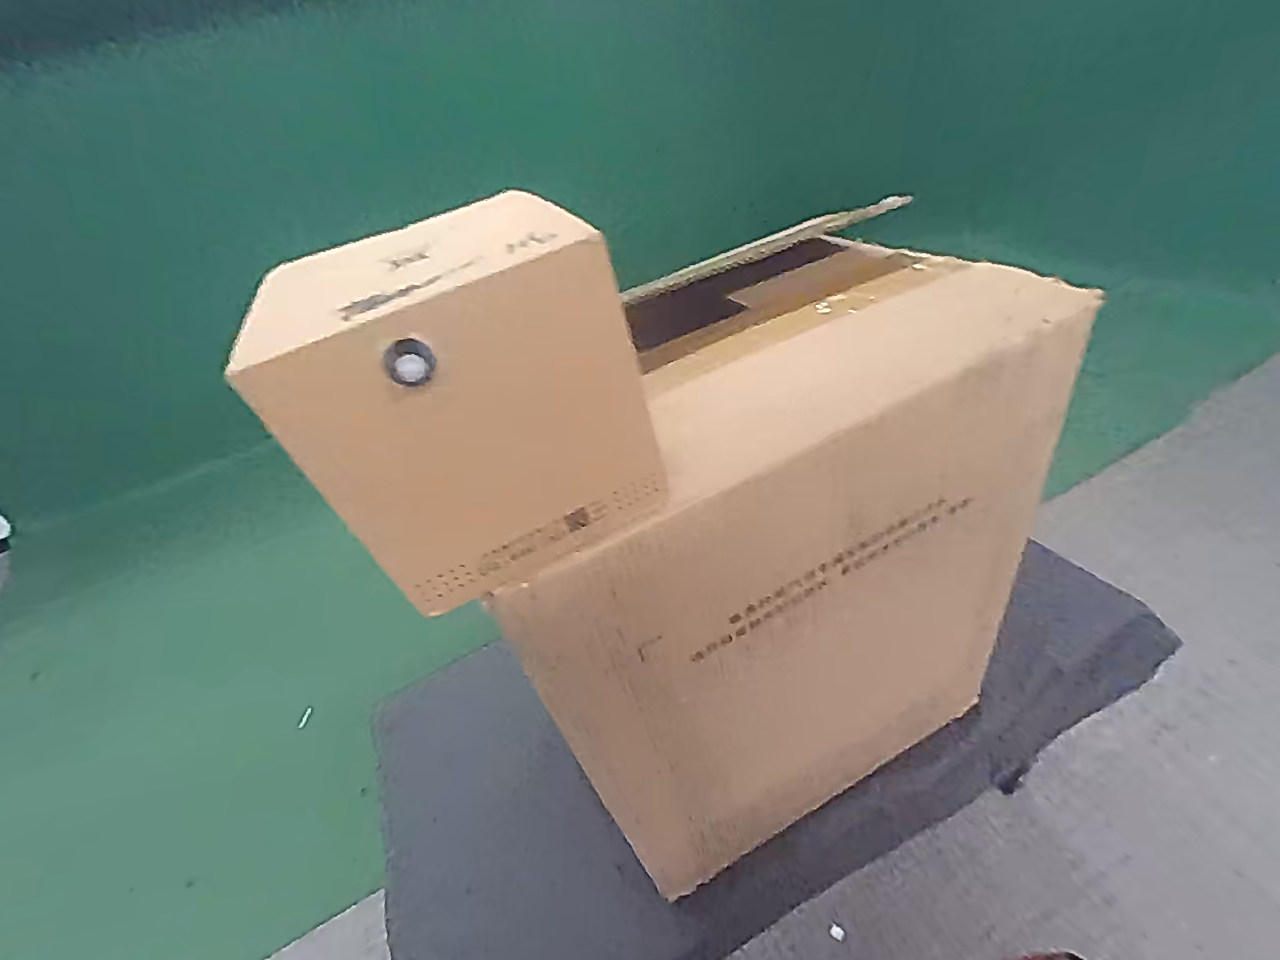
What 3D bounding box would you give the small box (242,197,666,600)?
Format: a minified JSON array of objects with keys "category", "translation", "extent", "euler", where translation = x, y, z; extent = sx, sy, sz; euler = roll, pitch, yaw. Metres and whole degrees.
[{"category":"small box","translation":[-0.102,-0.059,0.347],"extent":[0.168,0.176,0.179],"euler":[-26,39,-9]}]
